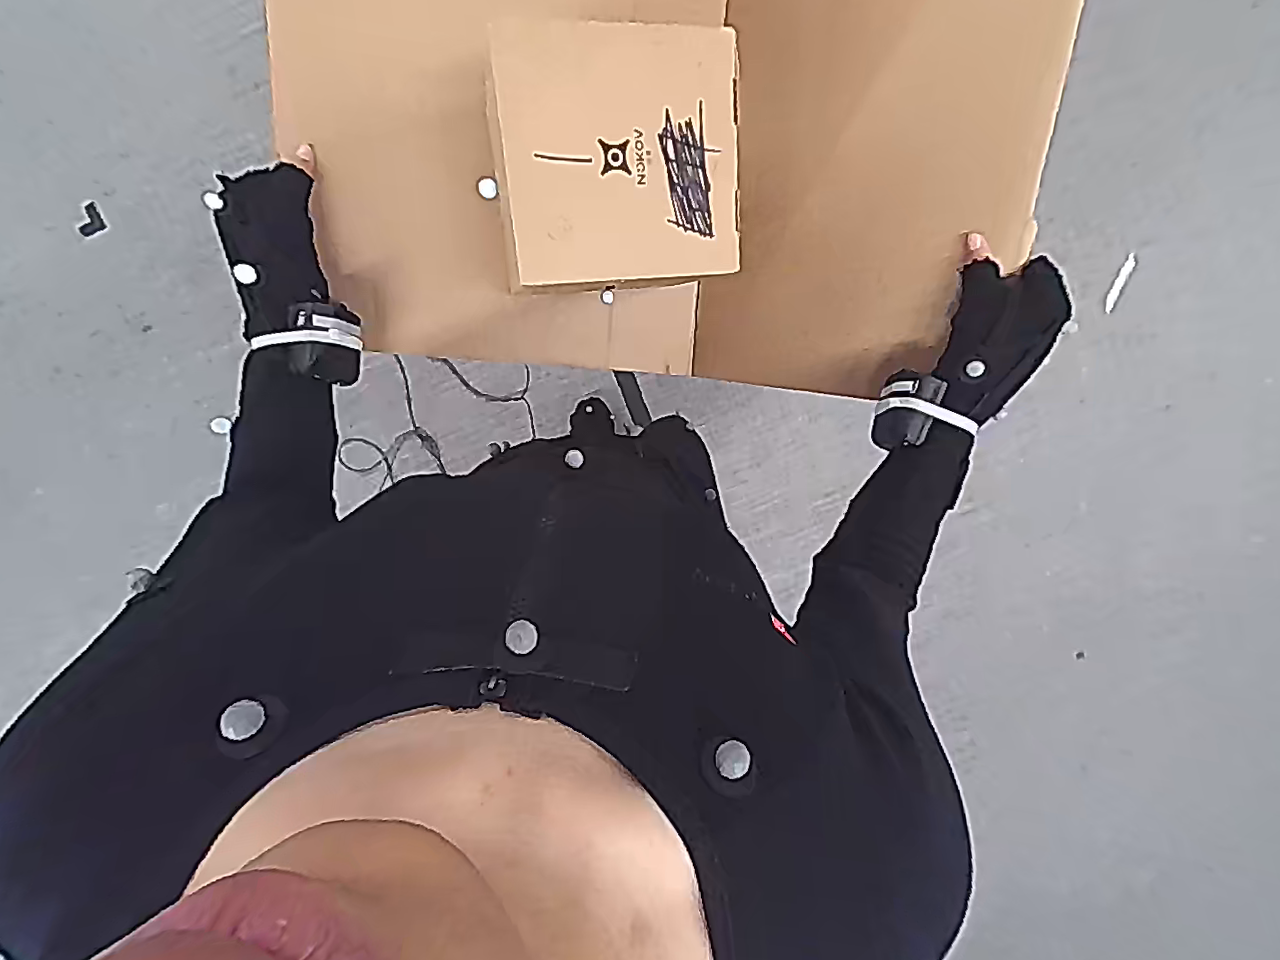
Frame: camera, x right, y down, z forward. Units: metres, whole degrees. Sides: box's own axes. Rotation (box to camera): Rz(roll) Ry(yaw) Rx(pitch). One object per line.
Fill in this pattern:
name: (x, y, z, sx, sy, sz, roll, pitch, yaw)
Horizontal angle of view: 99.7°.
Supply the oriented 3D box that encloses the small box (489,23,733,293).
small box: (-0.033, -0.258, 0.474, 0.179, 0.176, 0.168, -9, 108, -12)
